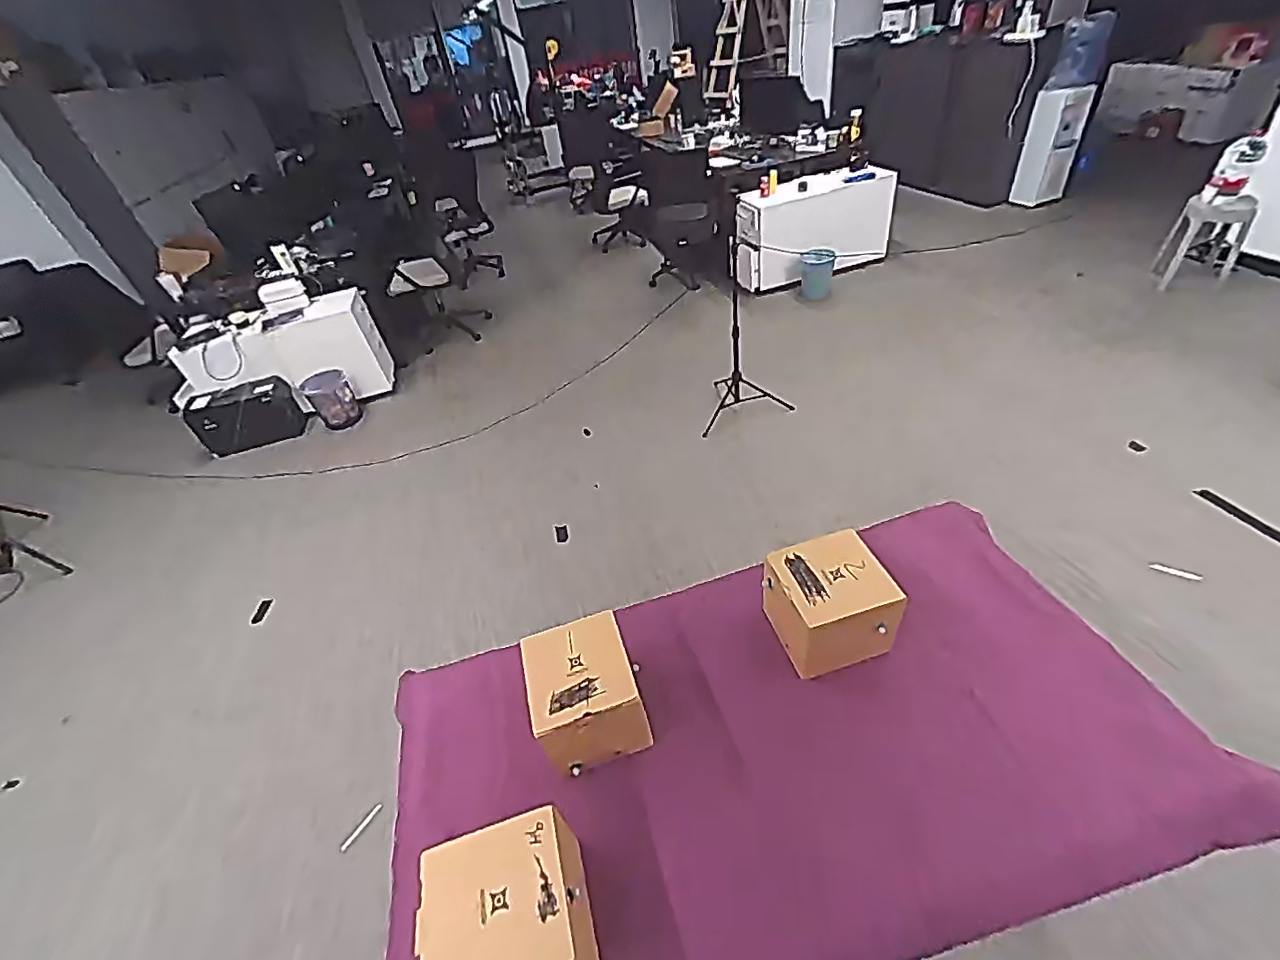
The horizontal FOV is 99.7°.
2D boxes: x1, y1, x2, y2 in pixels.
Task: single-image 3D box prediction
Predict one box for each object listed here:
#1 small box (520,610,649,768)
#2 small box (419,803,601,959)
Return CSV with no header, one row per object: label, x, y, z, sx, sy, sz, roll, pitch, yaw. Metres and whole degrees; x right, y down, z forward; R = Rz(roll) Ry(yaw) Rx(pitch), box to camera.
small box,-0.091,0.358,0.914,0.168,0.176,0.179,-17,41,-8
small box,-0.164,0.558,0.695,0.179,0.176,0.168,-17,41,-6
